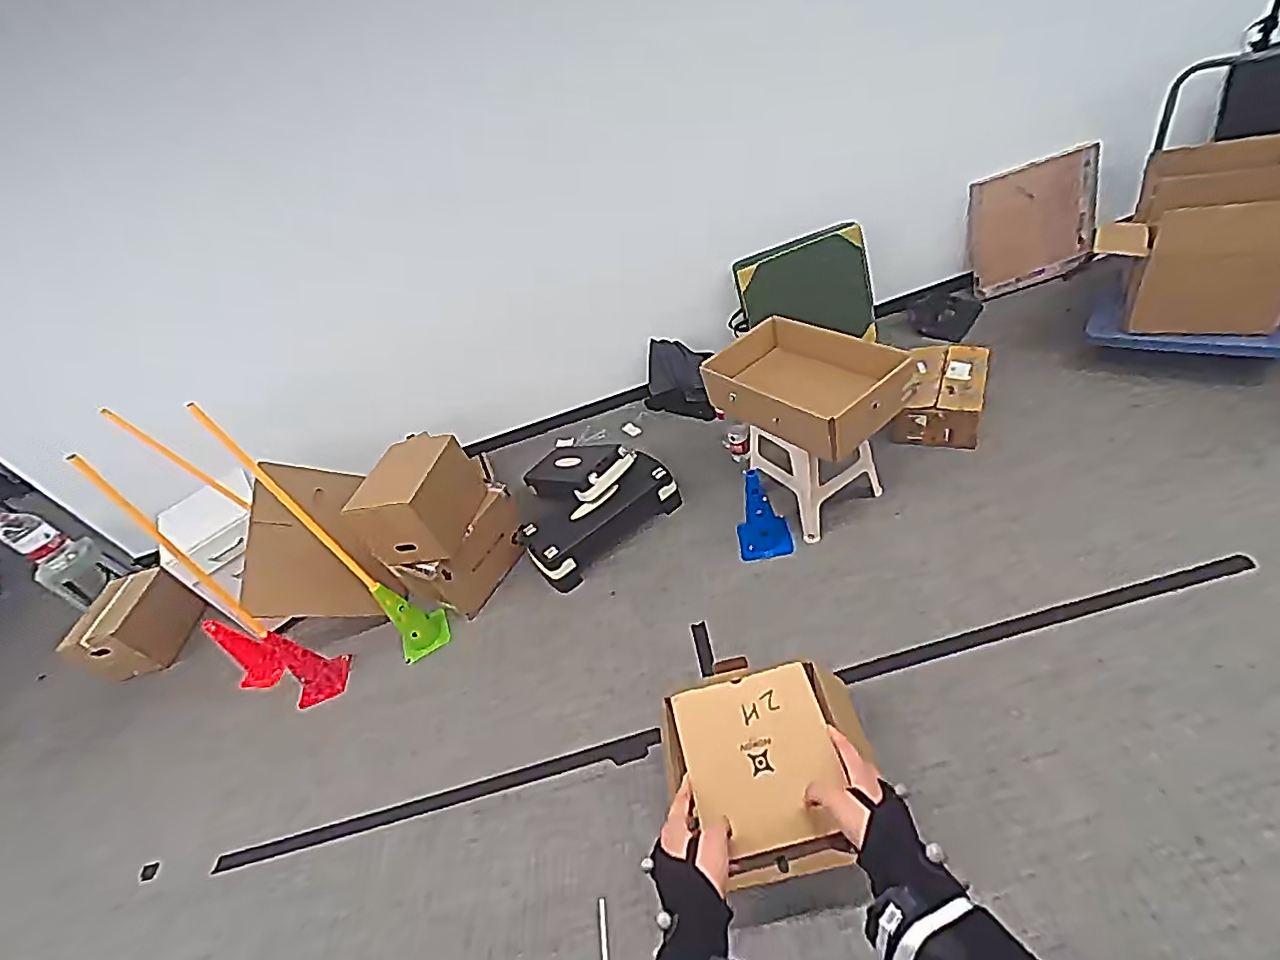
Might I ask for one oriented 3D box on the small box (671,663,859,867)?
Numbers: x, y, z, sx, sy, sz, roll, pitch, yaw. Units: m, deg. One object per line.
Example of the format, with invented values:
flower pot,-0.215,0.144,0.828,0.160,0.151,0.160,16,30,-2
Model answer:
small box,0.146,0.355,0.663,0.168,0.176,0.179,-15,49,0
